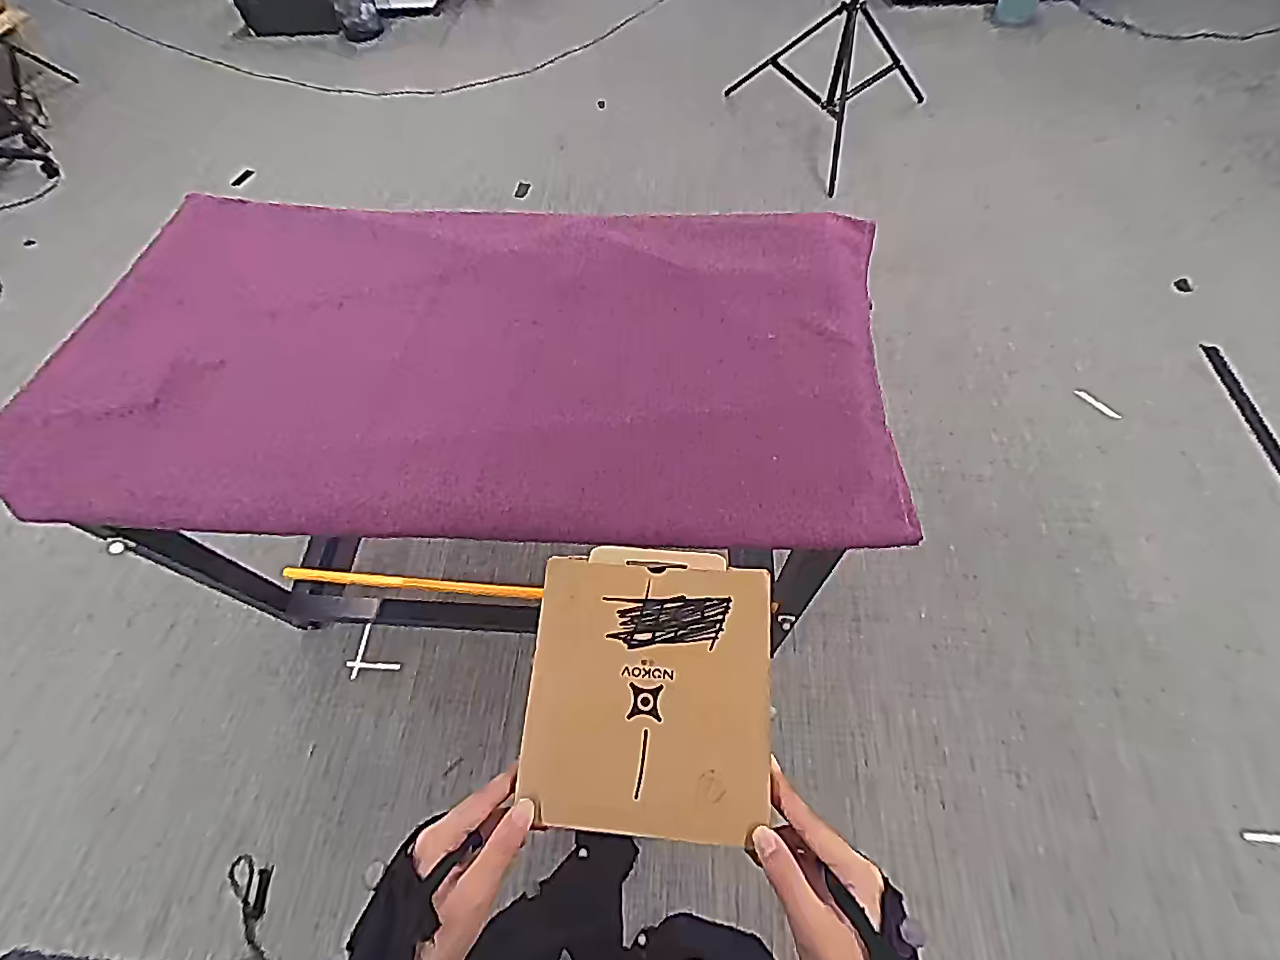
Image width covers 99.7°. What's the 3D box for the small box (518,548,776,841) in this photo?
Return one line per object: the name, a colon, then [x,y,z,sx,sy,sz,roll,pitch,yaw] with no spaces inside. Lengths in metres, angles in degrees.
small box: [0.015,0.167,0.443,0.168,0.176,0.179,3,68,6]
